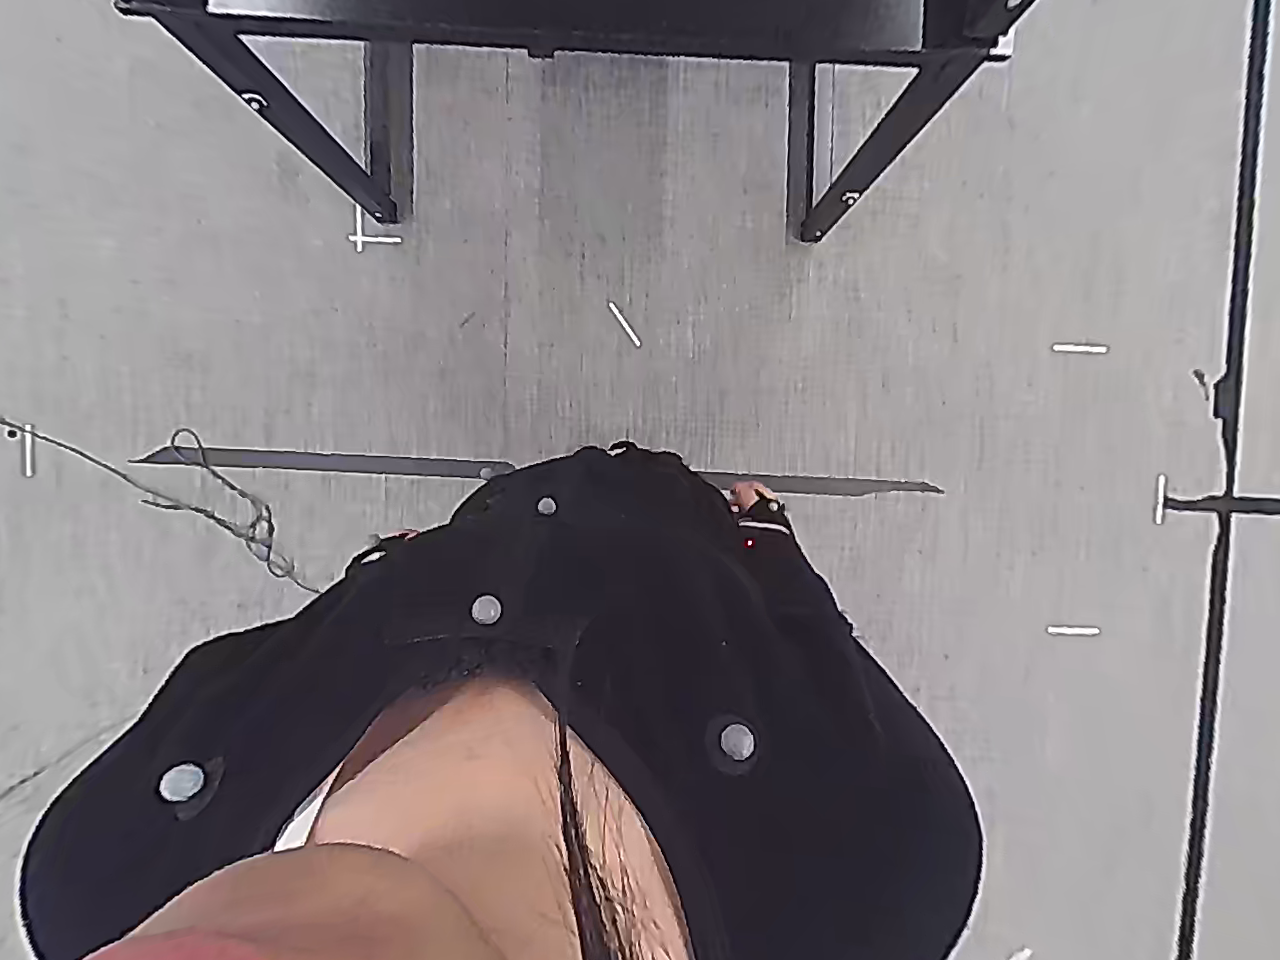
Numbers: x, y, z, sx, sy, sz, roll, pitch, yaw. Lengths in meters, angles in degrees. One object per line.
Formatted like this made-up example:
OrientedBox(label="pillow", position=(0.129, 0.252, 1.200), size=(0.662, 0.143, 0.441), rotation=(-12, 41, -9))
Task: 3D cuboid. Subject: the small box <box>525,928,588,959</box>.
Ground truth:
OrientedBox(label="small box", position=(-0.230, 1.369, 1.473), size=(0.168, 0.176, 0.179), rotation=(0, 94, -1))
